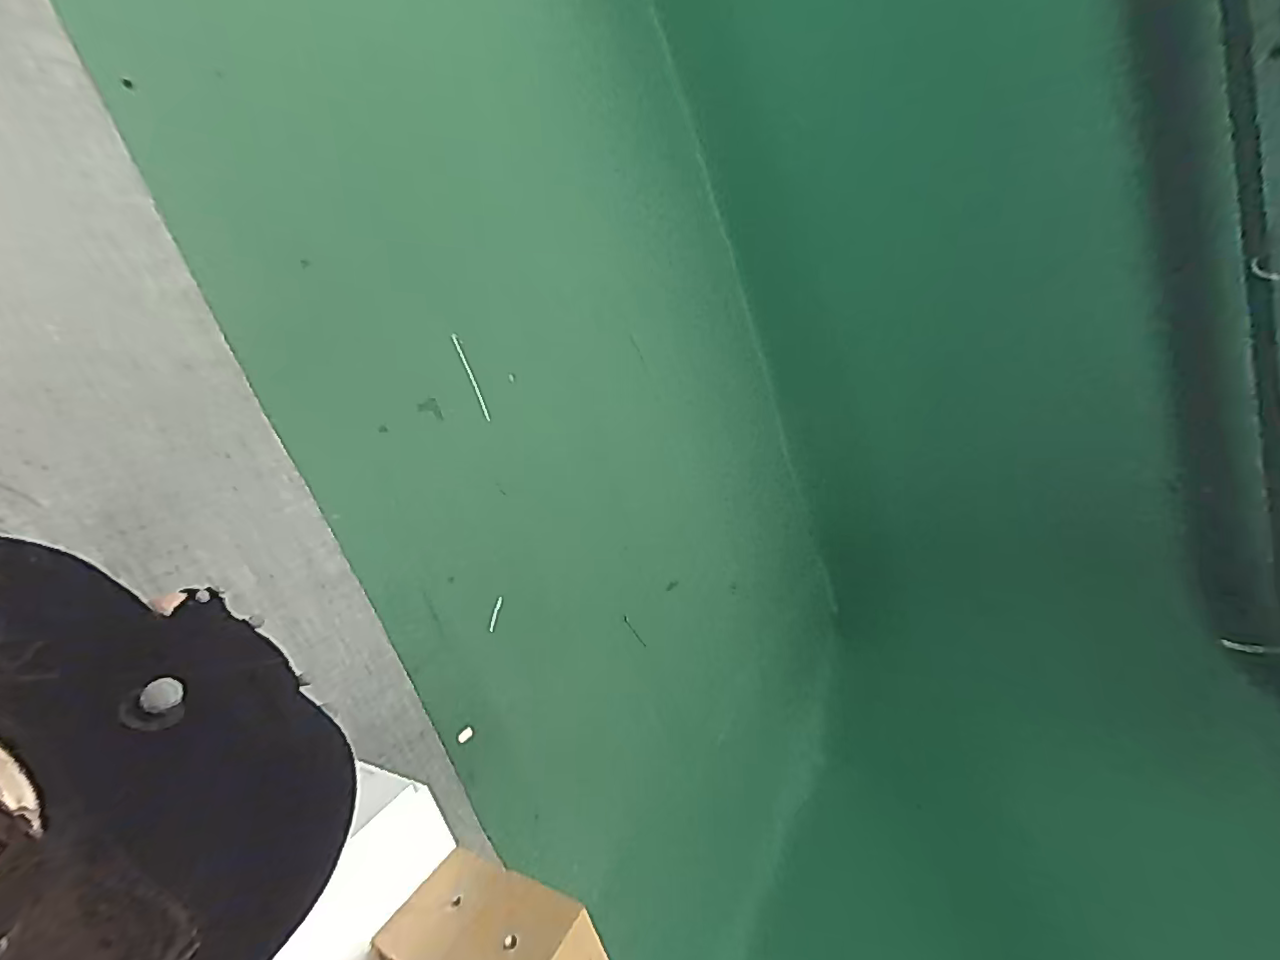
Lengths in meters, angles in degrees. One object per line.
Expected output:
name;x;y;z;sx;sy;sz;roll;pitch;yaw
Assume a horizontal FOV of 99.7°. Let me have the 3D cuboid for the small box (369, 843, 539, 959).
small box;-0.307;0.754;0.901;0.179;0.176;0.168;-34;109;-49
